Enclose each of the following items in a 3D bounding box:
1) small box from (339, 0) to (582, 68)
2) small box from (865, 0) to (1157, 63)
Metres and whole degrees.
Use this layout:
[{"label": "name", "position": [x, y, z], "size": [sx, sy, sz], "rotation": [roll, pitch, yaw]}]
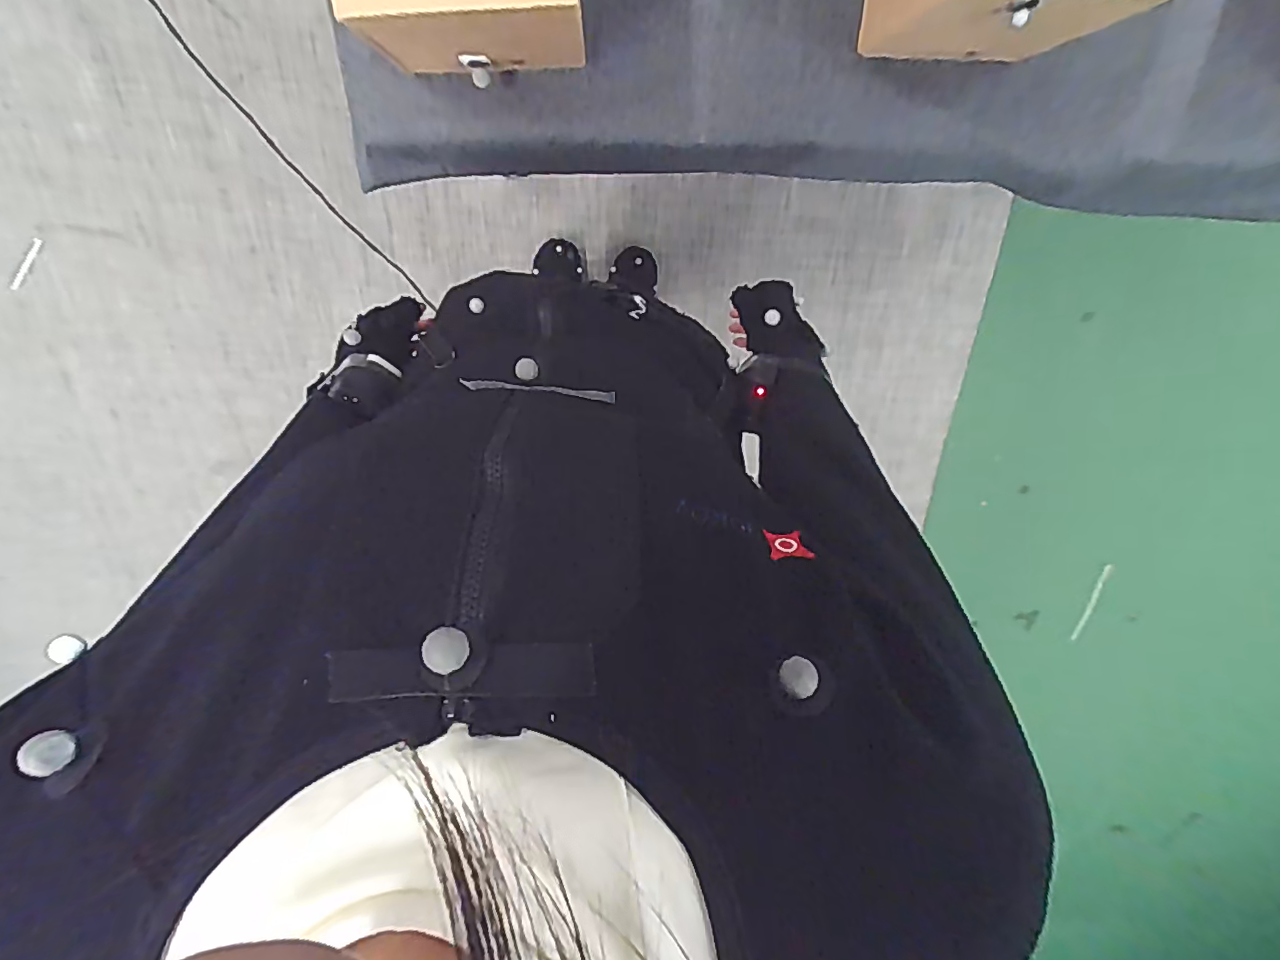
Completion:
[{"label": "small box", "position": [-0.130, -0.419, 0.379], "size": [0.168, 0.176, 0.179], "rotation": [-2, 116, -1]}, {"label": "small box", "position": [0.296, -0.454, 0.414], "size": [0.168, 0.176, 0.179], "rotation": [-1, 115, -4]}]
